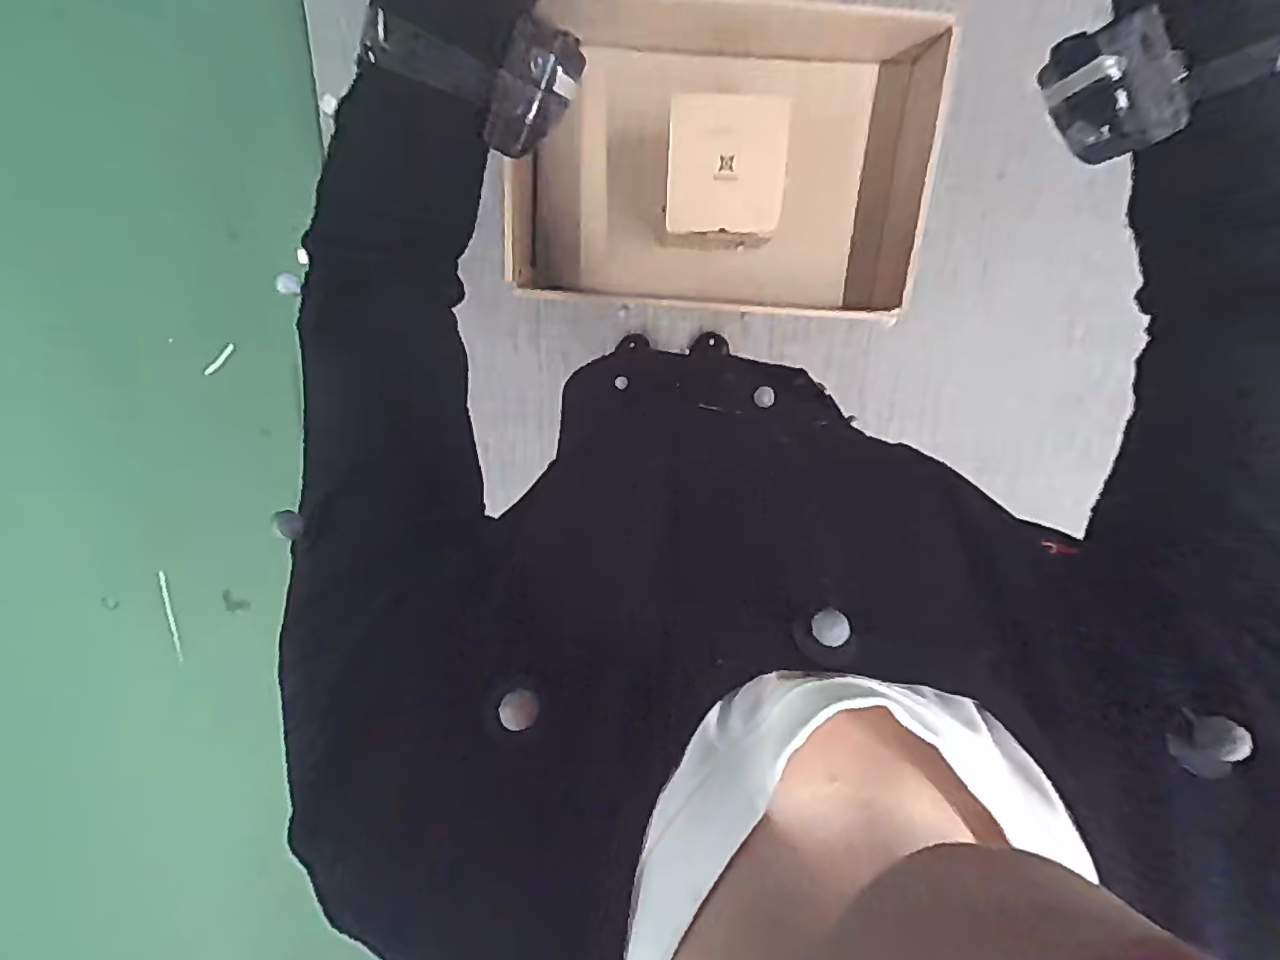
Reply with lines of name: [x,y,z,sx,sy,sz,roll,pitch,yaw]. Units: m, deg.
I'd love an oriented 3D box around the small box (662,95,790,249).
small box: [0.122,-0.461,0.835,0.168,0.176,0.179,1,105,0]
